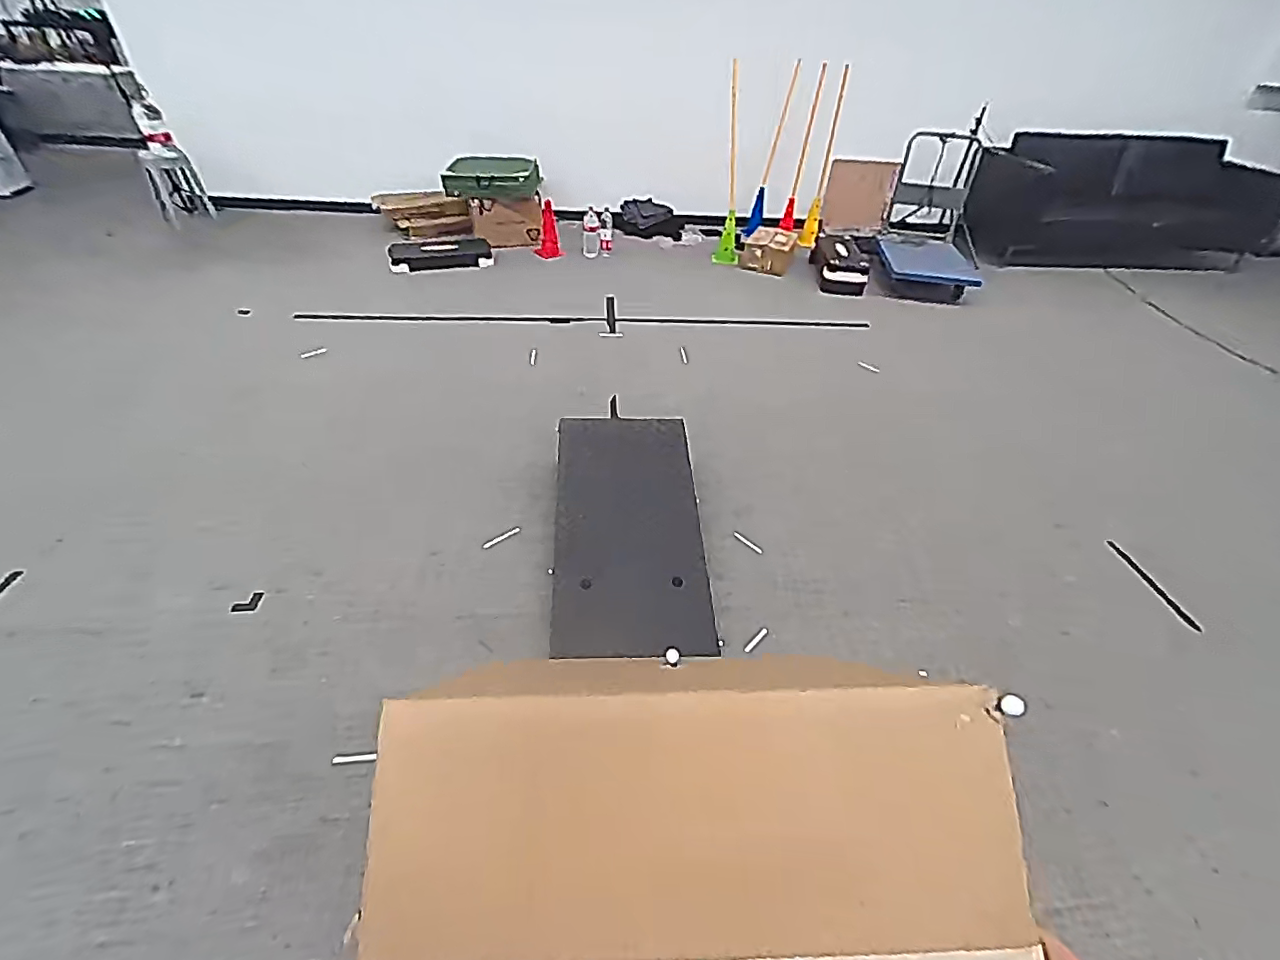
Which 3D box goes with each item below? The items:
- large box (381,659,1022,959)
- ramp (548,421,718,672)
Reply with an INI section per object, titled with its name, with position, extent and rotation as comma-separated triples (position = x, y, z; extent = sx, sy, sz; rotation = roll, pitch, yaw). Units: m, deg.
[large box]
position = 0.034, 0.335, 0.475
extent = 0.408, 0.320, 0.320
rotation = -1, 77, -2
[ramp]
position = -0.047, 0.170, 1.818
extent = 0.509, 0.206, 0.991
rotation = -1, 42, -8
